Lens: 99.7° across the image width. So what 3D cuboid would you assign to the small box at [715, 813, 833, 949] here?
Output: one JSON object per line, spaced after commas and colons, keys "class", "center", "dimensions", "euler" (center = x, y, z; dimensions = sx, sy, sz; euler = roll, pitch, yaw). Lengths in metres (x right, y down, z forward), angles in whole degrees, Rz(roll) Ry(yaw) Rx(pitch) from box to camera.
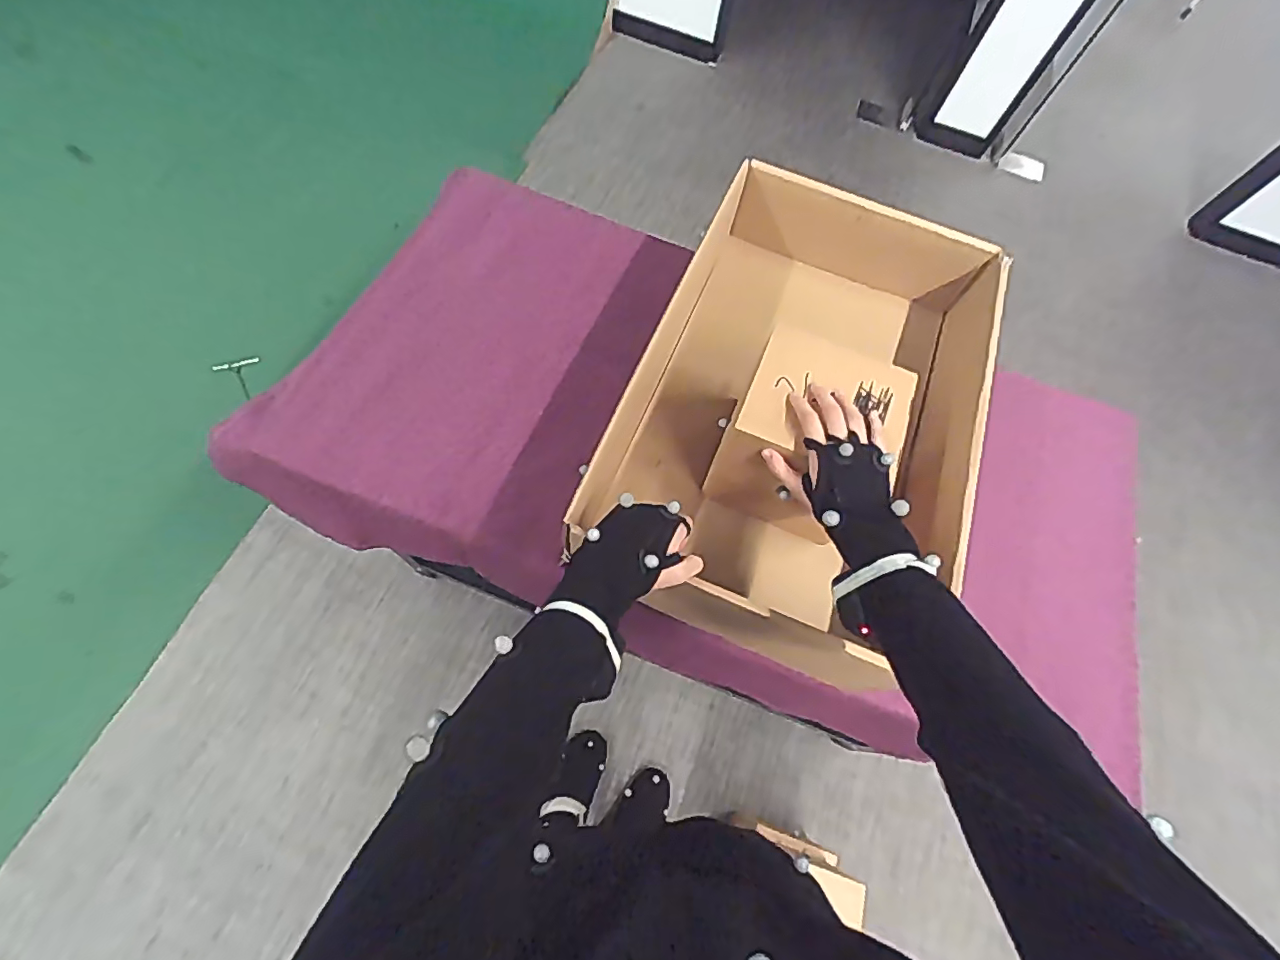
{"class": "small box", "center": [0.277, 0.833, 1.144], "dimensions": [0.179, 0.176, 0.168], "euler": [20, 66, 3]}
